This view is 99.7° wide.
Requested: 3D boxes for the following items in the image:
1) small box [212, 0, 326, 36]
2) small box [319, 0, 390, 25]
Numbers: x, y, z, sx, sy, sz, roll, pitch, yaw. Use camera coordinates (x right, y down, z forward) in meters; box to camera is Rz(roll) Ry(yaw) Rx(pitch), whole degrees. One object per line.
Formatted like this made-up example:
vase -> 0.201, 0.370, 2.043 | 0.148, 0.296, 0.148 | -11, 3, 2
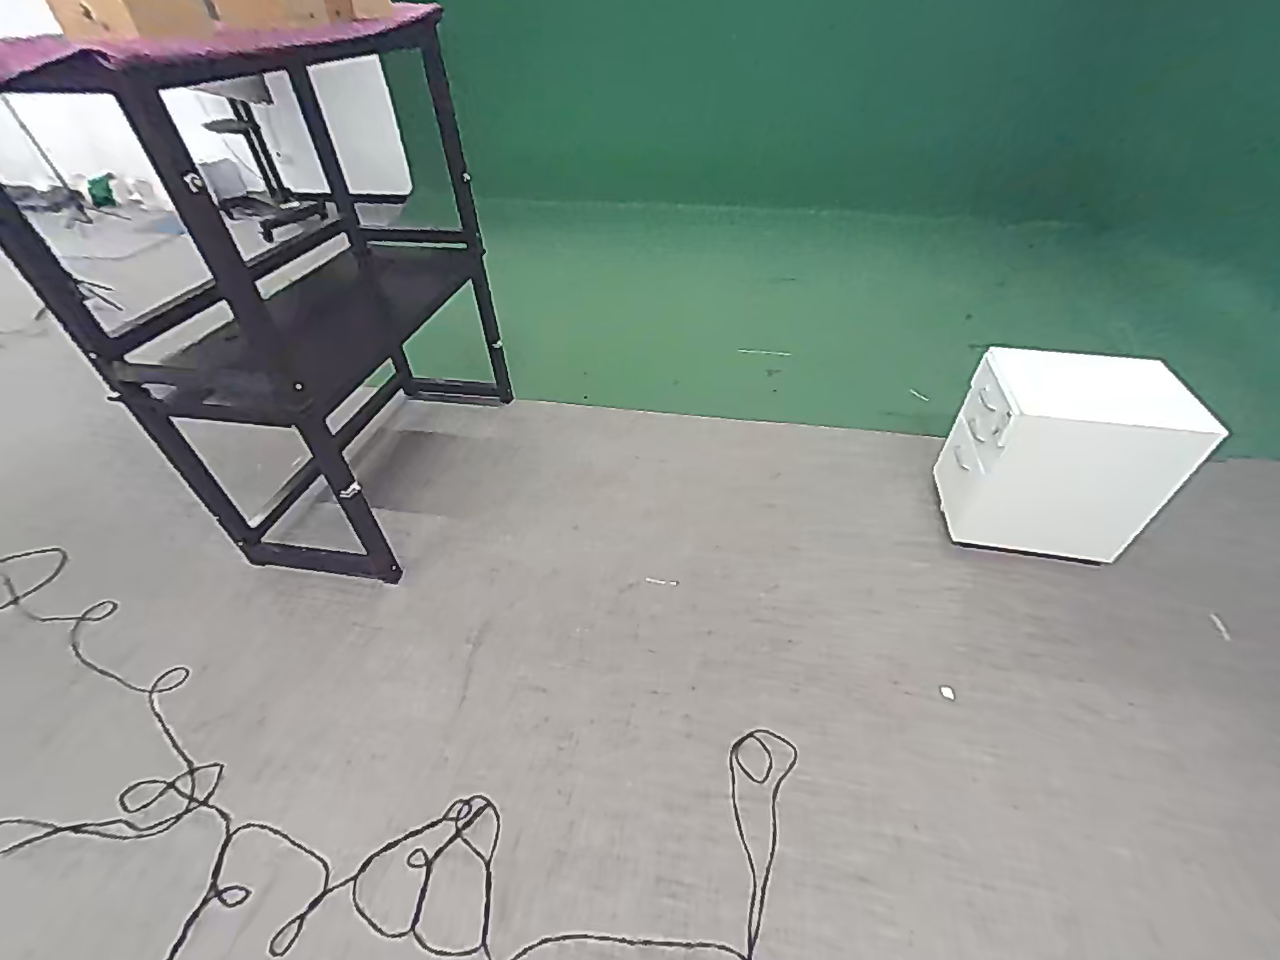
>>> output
small box -> -0.887, -1.164, 1.272 | 0.179, 0.176, 0.168 | 8, 42, 10
small box -> -0.850, -1.409, 1.537 | 0.168, 0.176, 0.179 | 9, 44, 14
